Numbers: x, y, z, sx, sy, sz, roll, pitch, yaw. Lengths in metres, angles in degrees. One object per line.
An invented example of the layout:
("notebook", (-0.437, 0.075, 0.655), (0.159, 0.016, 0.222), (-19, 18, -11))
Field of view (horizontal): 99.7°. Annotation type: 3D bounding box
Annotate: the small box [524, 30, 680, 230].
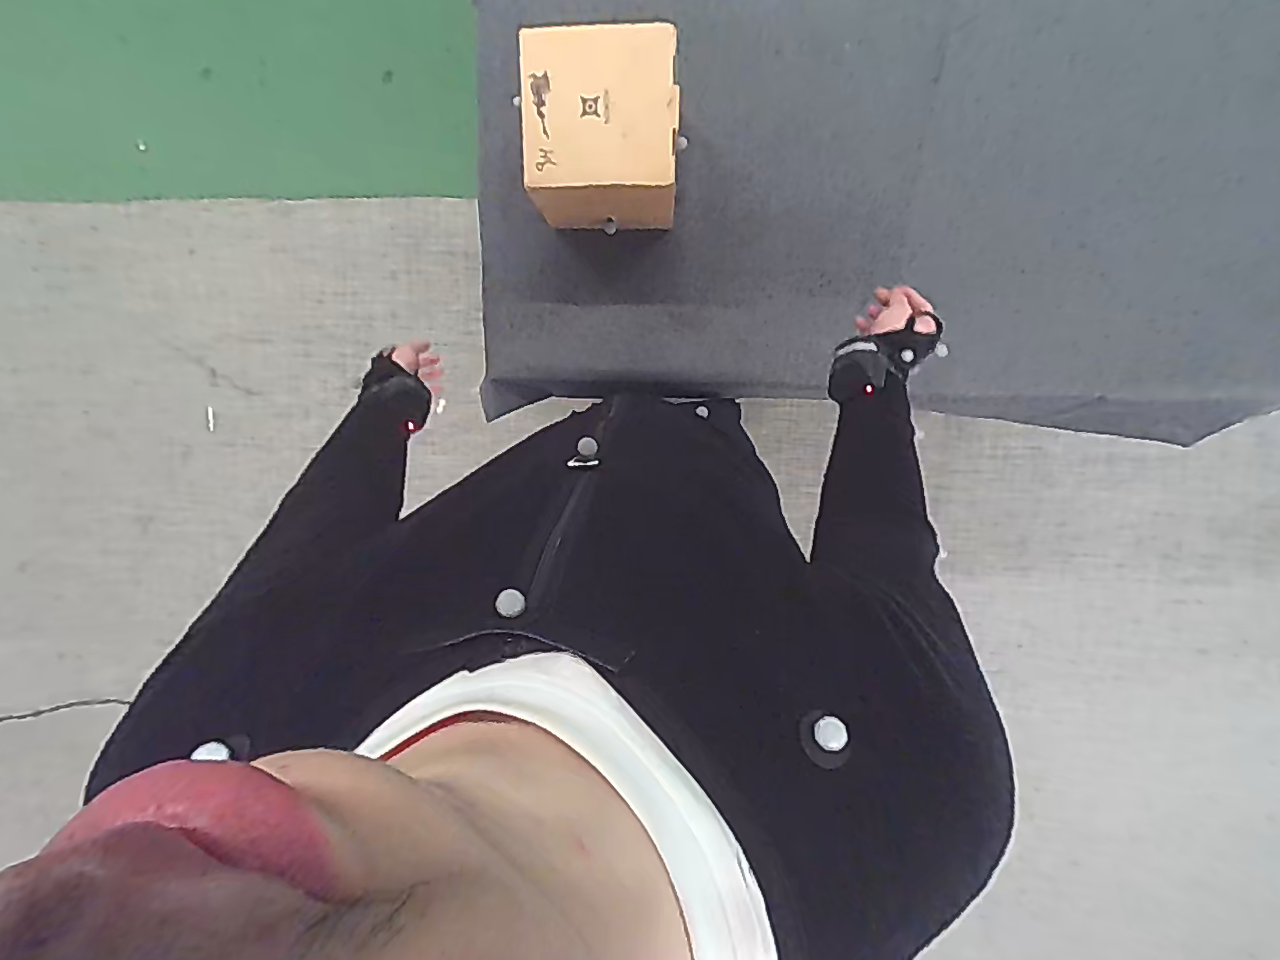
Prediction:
("small box", (-0.042, -0.429, 0.690), (0.179, 0.176, 0.168), (0, 100, 2))
